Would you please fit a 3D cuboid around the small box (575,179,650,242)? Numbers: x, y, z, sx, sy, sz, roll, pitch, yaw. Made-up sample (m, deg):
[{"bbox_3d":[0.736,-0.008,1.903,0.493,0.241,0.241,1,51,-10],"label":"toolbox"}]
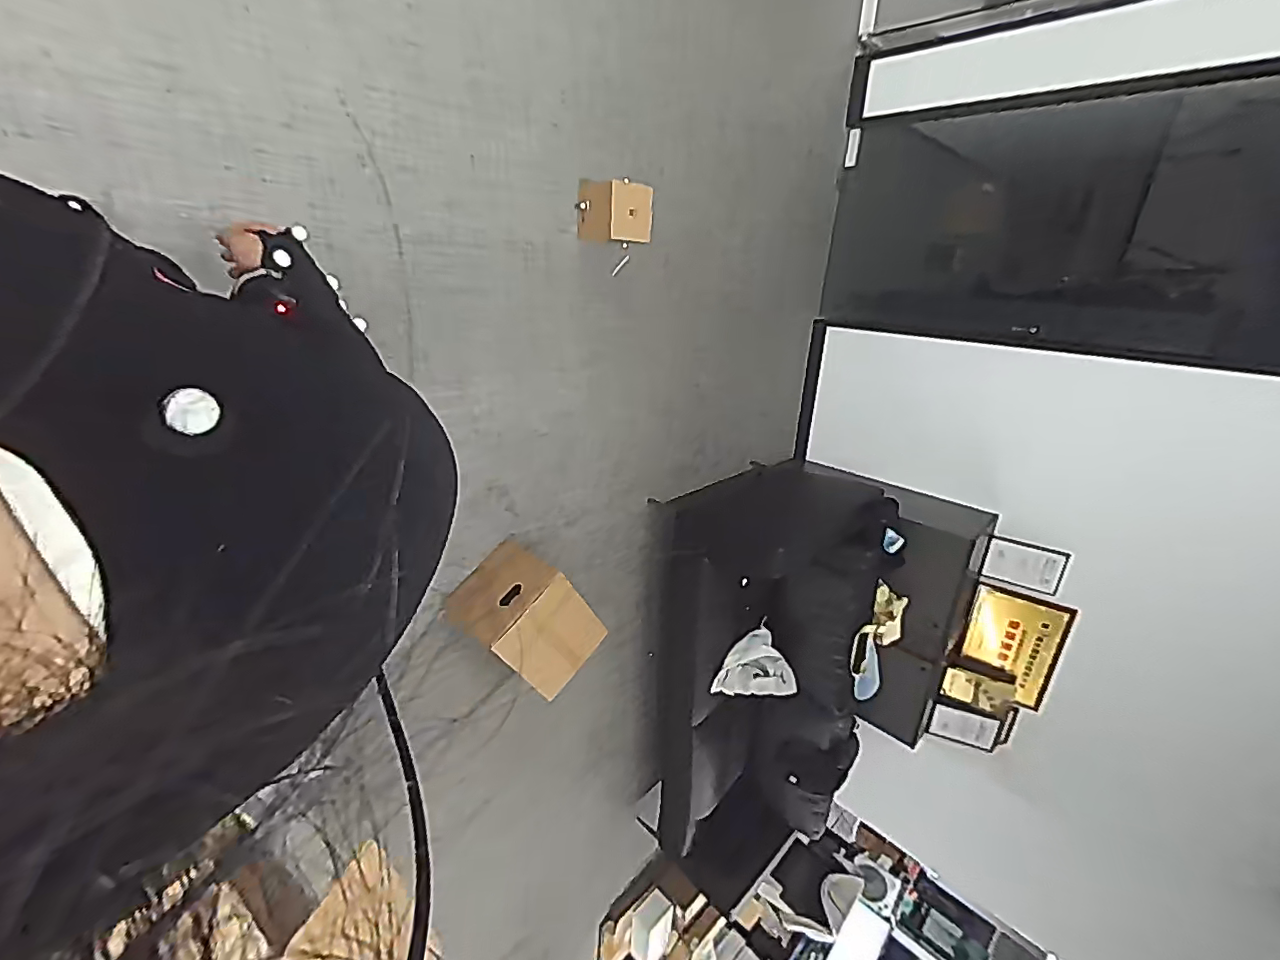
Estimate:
[{"bbox_3d":[-0.091,-0.864,1.743,0.179,0.176,0.168,-17,119,-41],"label":"small box"}]
